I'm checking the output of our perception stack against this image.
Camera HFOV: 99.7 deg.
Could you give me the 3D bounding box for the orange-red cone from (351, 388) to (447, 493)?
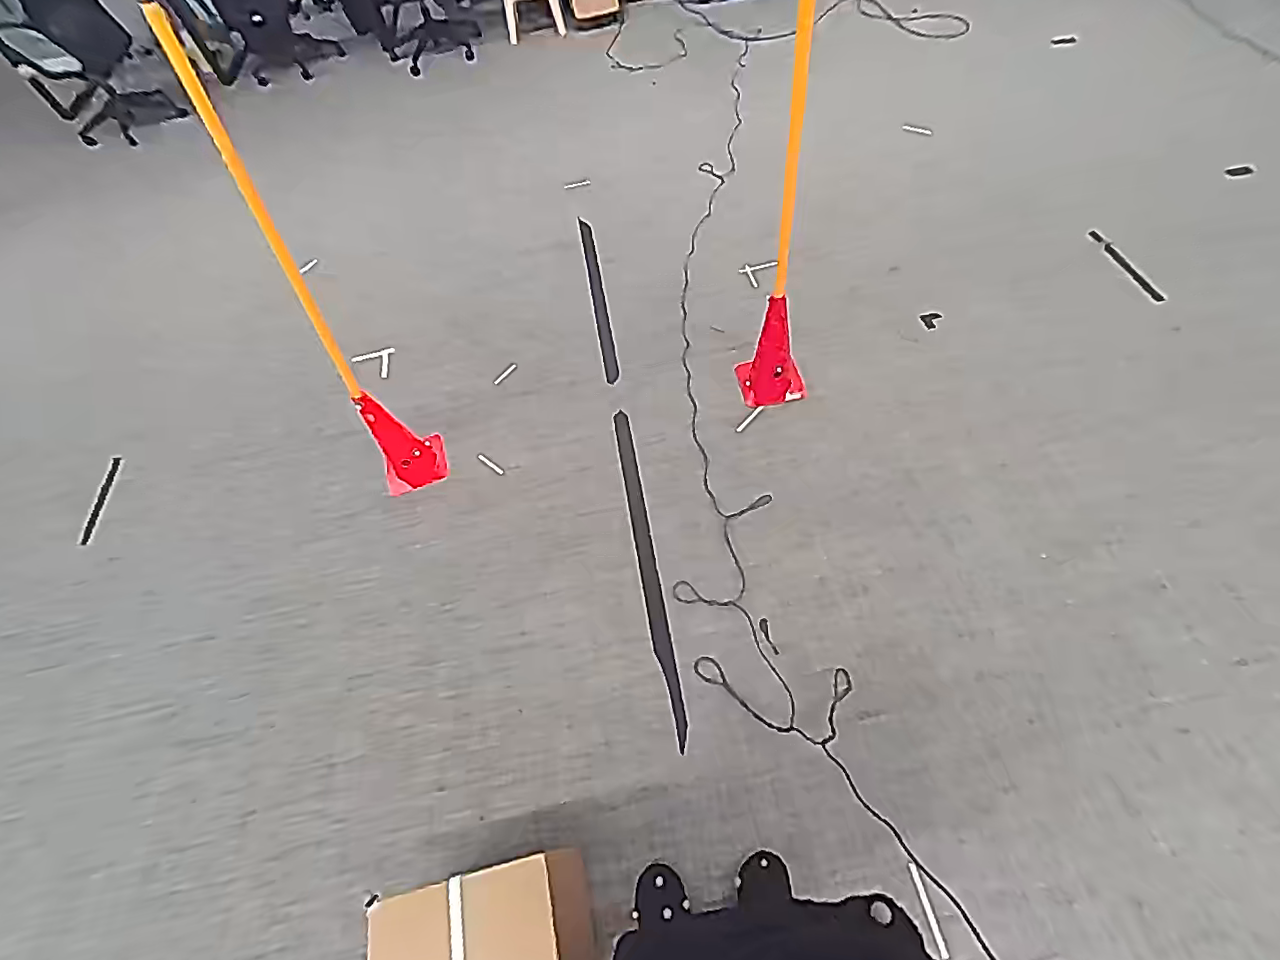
[{"bbox_3d":[-0.765,-0.148,1.648,0.199,0.360,0.198,-20,57,-3],"label":"orange-red cone"}]
